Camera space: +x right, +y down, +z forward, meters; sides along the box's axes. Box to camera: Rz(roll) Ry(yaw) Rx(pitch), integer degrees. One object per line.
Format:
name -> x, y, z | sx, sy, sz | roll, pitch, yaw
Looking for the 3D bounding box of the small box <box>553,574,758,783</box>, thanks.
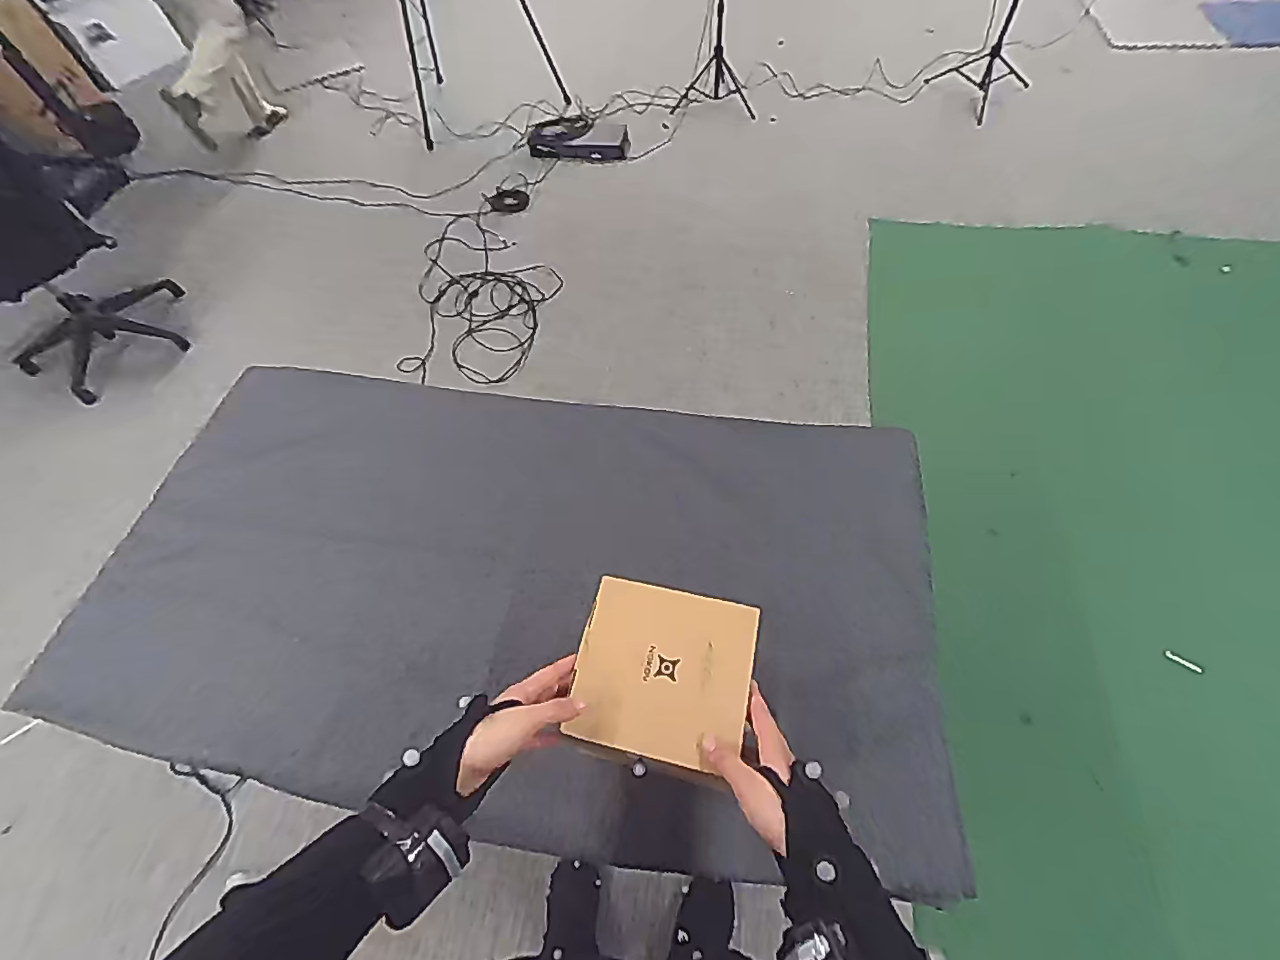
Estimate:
small box -> 0.024, 0.224, 0.599 | 0.179, 0.176, 0.168 | 10, 60, 9
